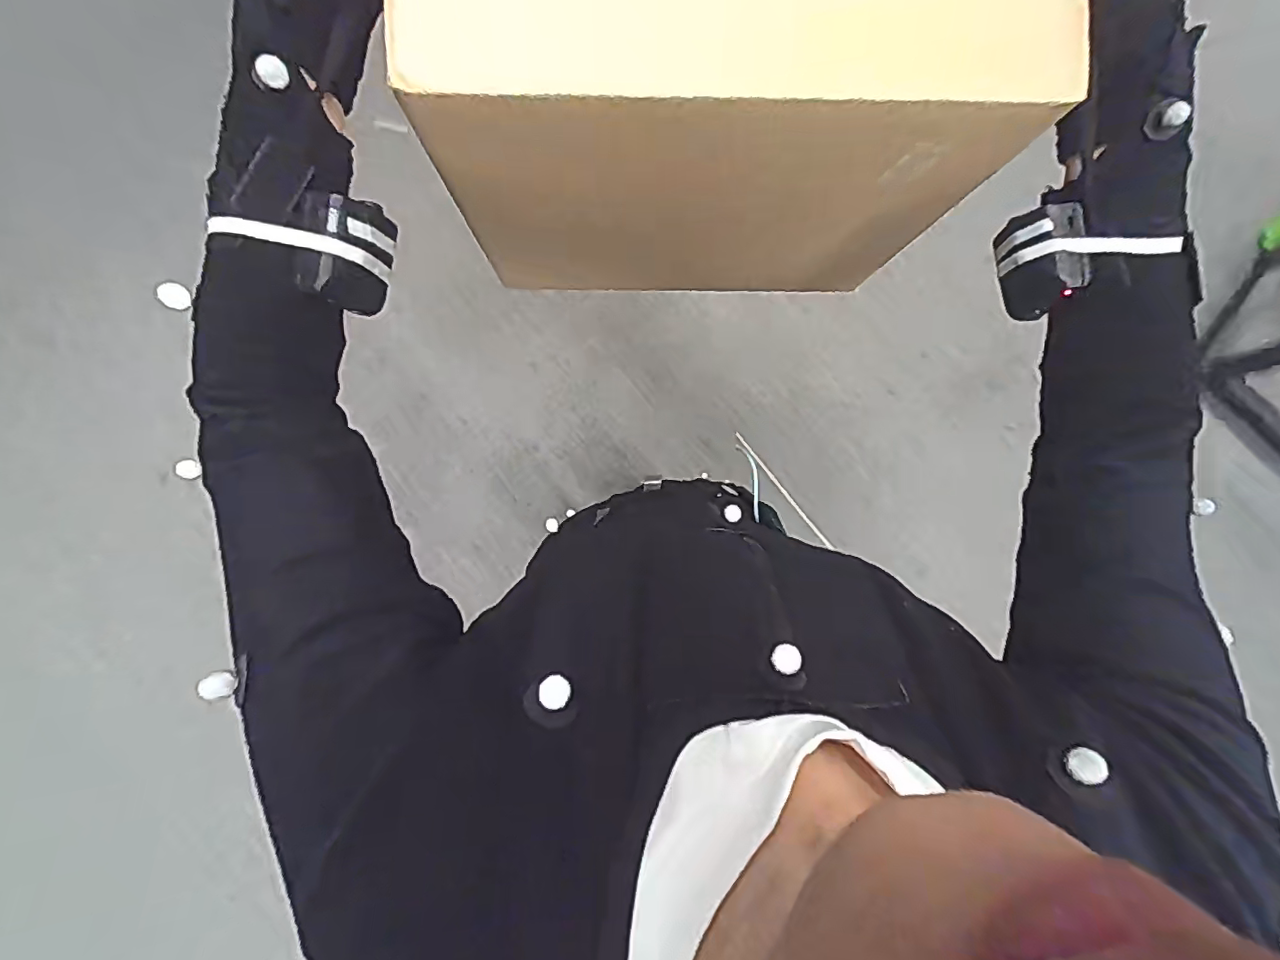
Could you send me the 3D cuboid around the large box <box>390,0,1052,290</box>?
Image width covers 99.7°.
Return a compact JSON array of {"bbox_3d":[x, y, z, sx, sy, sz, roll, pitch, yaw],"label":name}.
[{"bbox_3d":[0.039,-0.376,0.471,0.408,0.320,0.320,-2,90,-3],"label":"large box"}]
